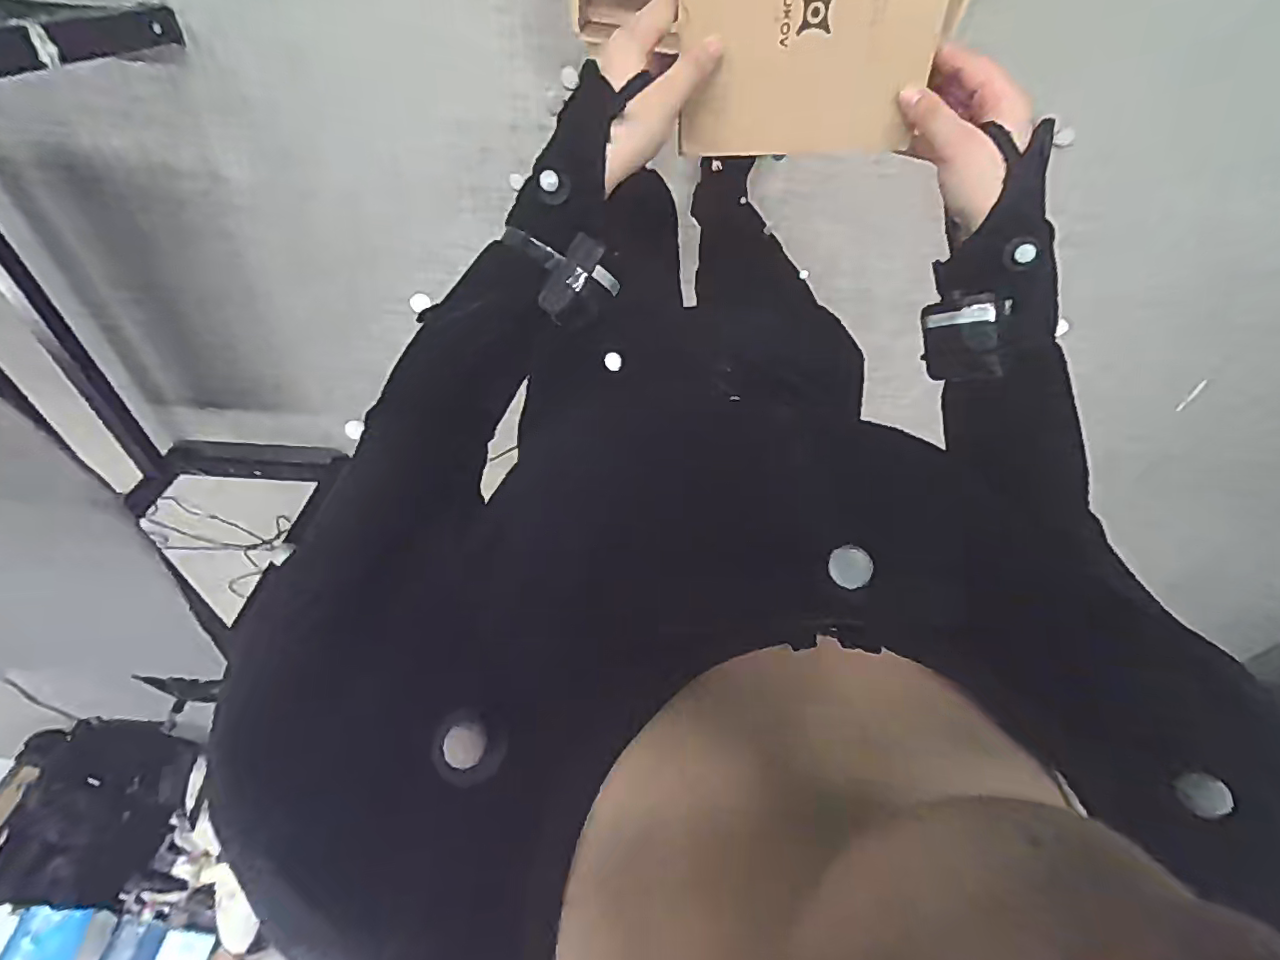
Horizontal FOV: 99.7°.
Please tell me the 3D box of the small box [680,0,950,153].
[{"bbox_3d":[0.120,-0.367,0.411,0.179,0.176,0.168,0,137,5],"label":"small box"}]
